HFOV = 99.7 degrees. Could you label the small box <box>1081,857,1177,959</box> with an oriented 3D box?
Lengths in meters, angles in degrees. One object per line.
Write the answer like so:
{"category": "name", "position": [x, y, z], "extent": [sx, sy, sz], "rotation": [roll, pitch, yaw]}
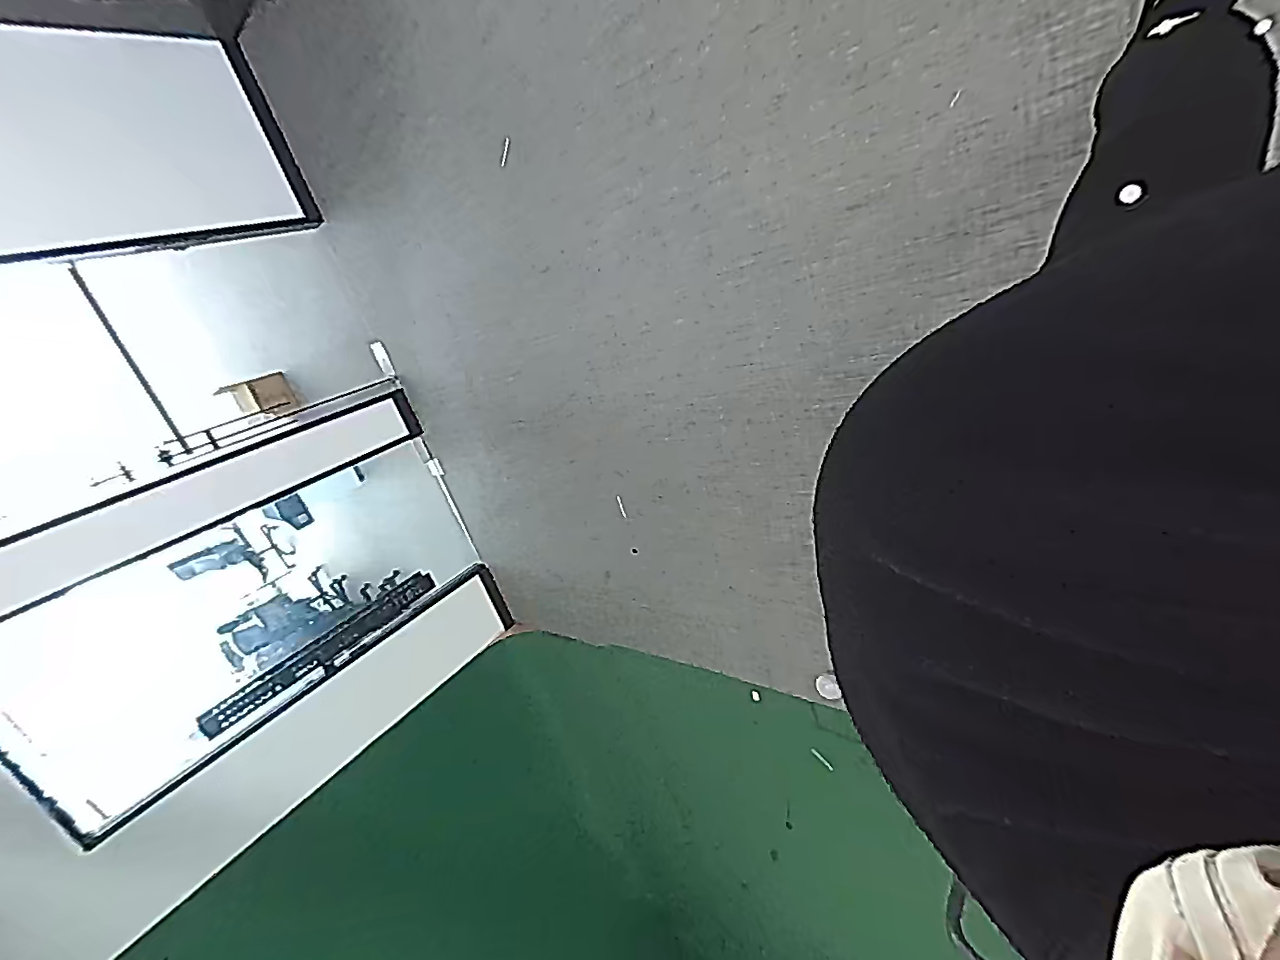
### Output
{"category": "small box", "position": [1.303, 1.169, 1.448], "extent": [0.168, 0.176, 0.179], "rotation": [9, 122, 39]}
